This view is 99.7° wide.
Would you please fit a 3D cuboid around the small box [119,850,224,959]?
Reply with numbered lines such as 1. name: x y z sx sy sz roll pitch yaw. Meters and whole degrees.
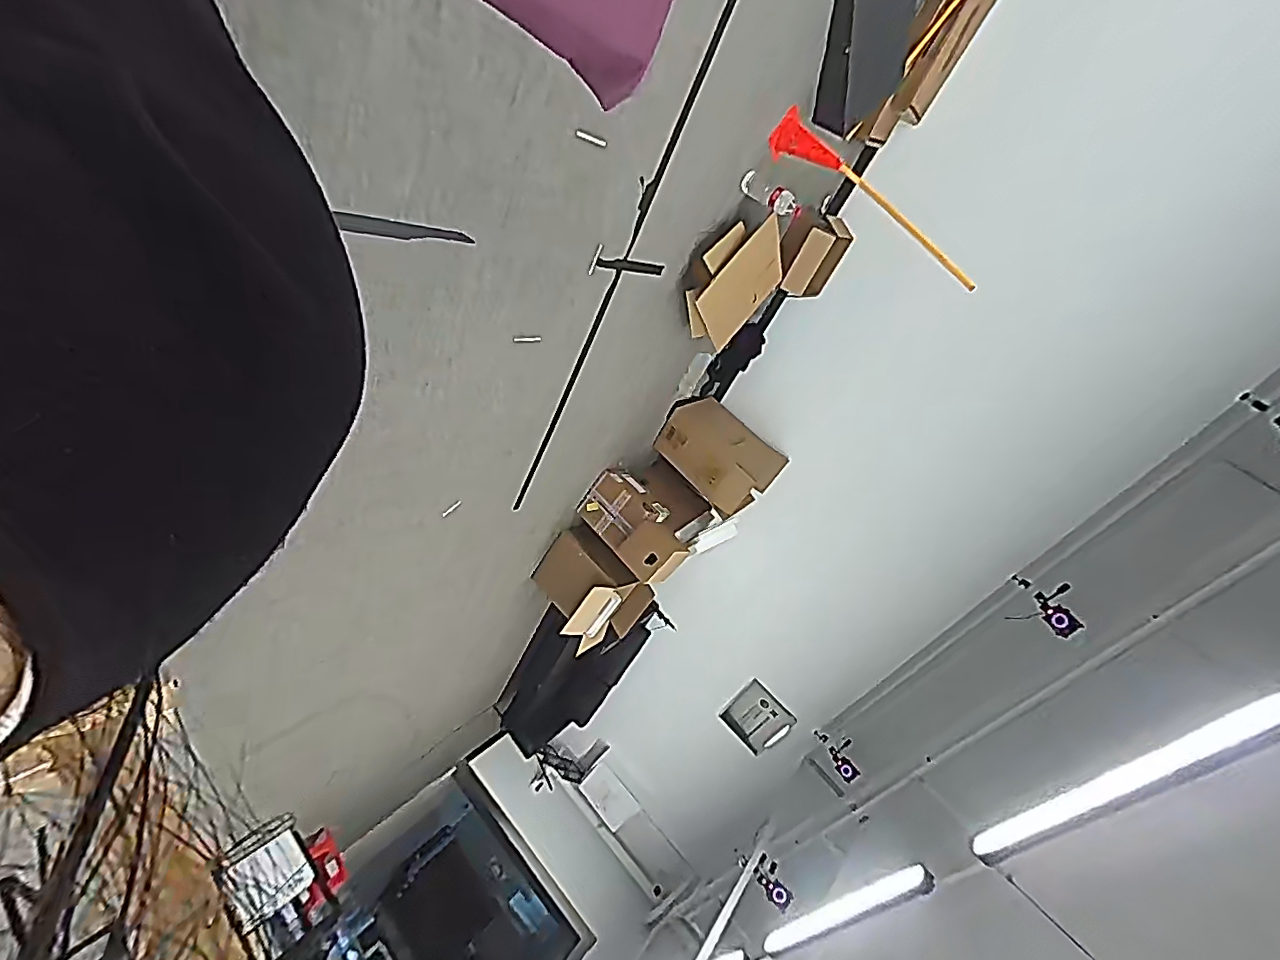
1. small box: -1.267 1.161 1.458 0.179 0.176 0.168 -20 146 -55

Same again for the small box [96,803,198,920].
1. small box: -1.380 1.057 1.510 0.179 0.176 0.168 -20 147 -54

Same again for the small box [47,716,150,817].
1. small box: -1.610 0.845 1.612 0.179 0.176 0.168 -21 147 -50

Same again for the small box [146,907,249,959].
1. small box: -1.154 1.267 1.404 0.168 0.176 0.179 -20 147 -54
